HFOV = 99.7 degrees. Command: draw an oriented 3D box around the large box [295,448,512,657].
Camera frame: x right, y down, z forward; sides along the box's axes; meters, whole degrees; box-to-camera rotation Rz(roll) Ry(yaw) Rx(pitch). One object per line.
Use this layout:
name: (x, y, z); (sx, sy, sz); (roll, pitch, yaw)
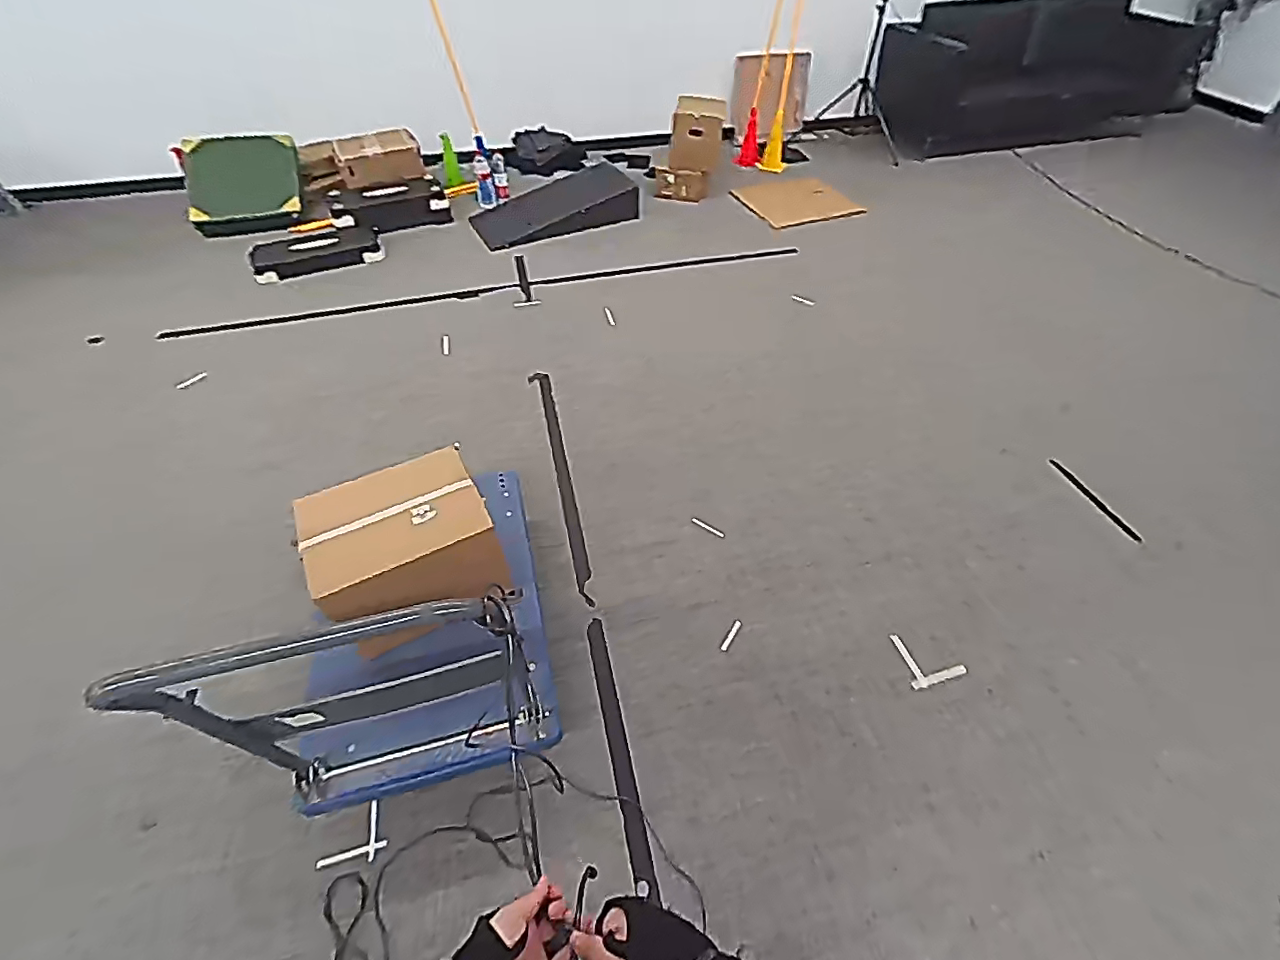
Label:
large box: (-0.593, 0.182, 1.397); (0.408, 0.320, 0.320); (-22, 53, -20)
